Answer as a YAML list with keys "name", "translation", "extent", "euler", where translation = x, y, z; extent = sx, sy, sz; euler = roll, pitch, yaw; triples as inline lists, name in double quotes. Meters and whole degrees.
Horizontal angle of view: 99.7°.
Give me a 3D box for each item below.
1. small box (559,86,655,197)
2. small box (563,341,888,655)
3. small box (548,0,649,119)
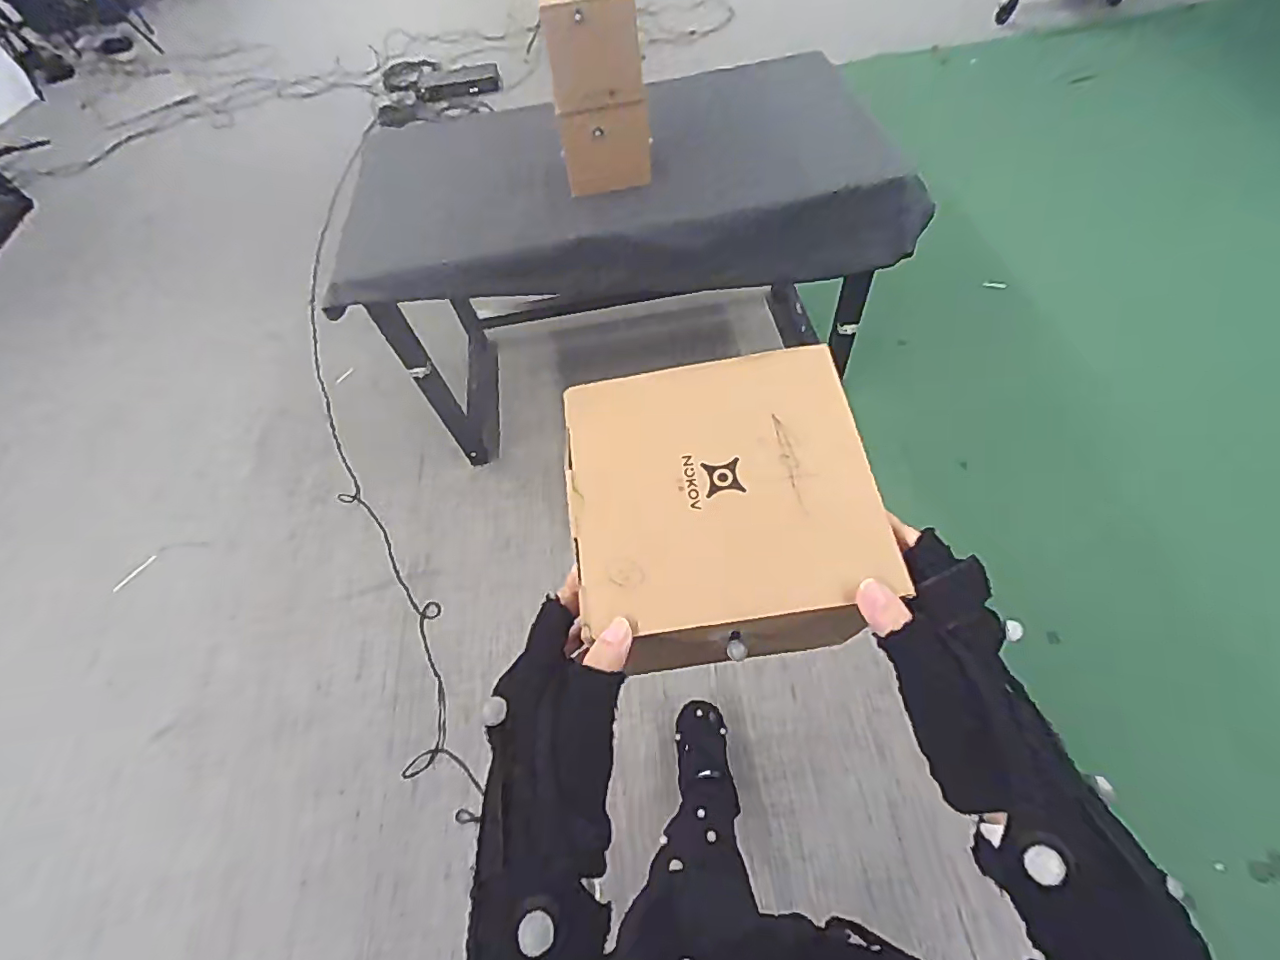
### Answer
- name: "small box"
  translation: [-0.068, -0.734, 1.160]
  extent: [0.179, 0.176, 0.168]
  euler: [-9, 57, 1]
- name: "small box"
  translation: [0.050, 0.027, 0.401]
  extent: [0.179, 0.176, 0.168]
  euler: [-9, 65, 2]
- name: "small box"
  translation: [-0.078, -0.822, 1.026]
  extent: [0.168, 0.176, 0.179]
  euler: [-10, 58, -1]
